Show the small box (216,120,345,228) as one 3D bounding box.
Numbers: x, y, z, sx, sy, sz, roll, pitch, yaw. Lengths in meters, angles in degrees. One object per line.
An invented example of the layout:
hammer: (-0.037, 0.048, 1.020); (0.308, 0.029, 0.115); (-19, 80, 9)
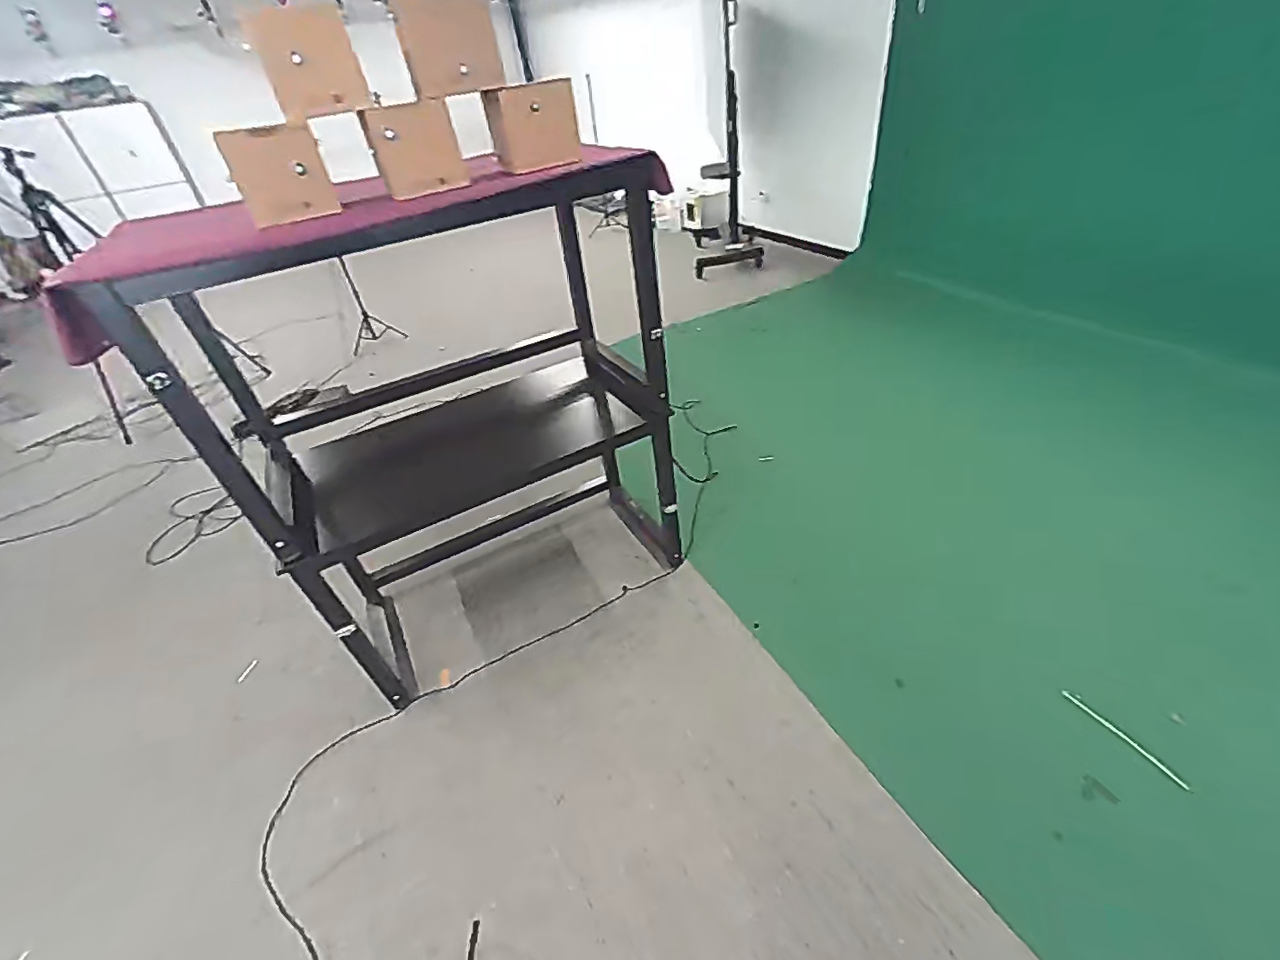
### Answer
small box: (-0.734, -0.635, 1.123); (0.168, 0.176, 0.179); (-21, 39, -18)

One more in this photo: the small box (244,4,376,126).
small box: (-0.649, -0.816, 1.076); (0.168, 0.176, 0.179); (-24, 40, -18)

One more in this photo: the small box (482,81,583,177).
small box: (-0.256, -0.843, 1.304); (0.179, 0.176, 0.168); (-23, 40, -19)

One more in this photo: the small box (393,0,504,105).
small box: (-0.403, -0.916, 1.157); (0.179, 0.176, 0.168); (-22, 39, -18)
